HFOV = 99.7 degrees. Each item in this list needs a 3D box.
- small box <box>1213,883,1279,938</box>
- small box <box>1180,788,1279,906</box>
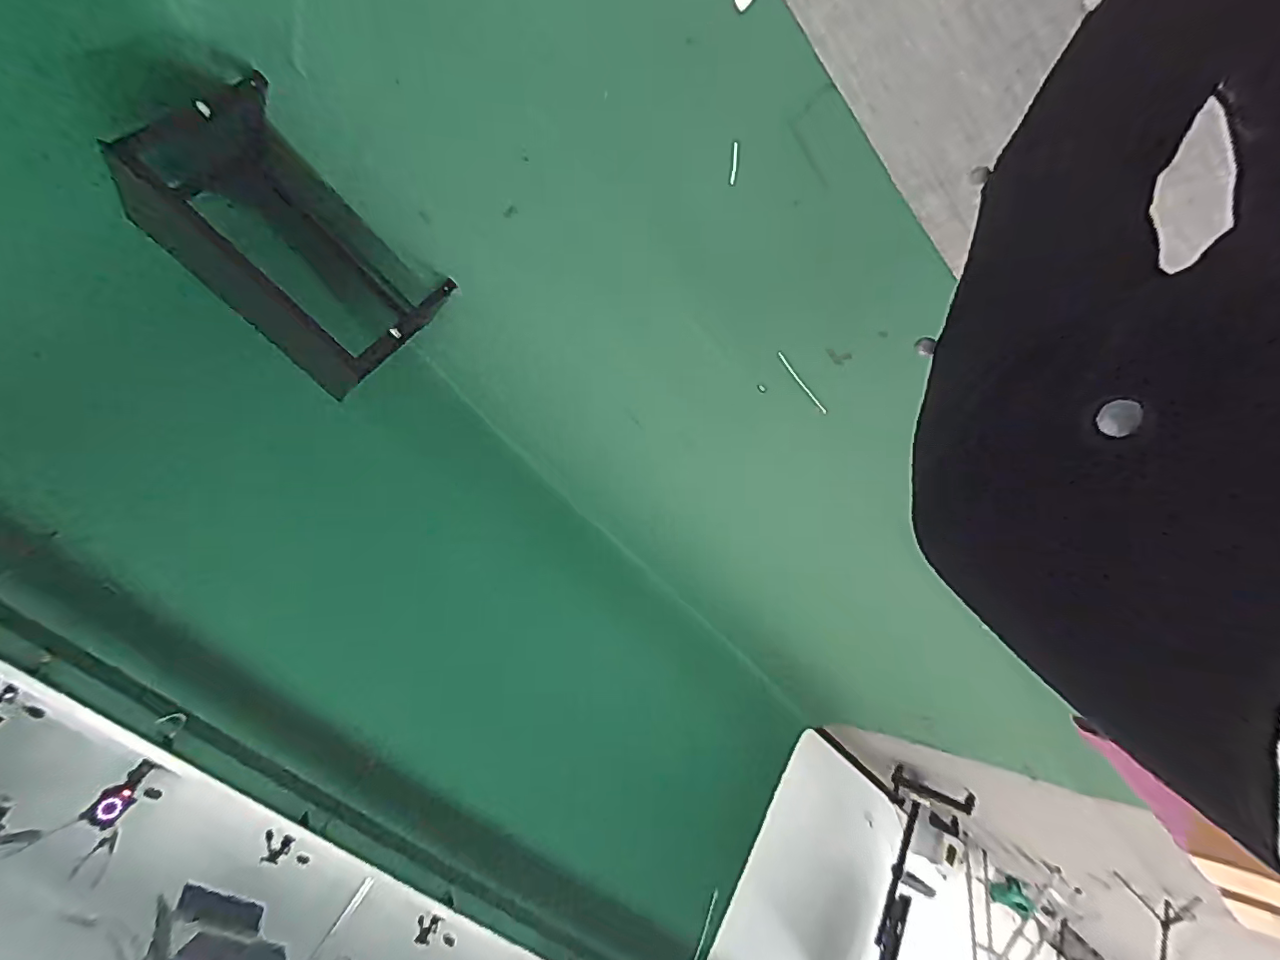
[{"bbox_3d":[1.665,1.087,1.431,0.179,0.176,0.168,45,151,-17],"label":"small box"},{"bbox_3d":[1.490,0.911,1.346,0.179,0.176,0.168,45,151,-20],"label":"small box"}]
